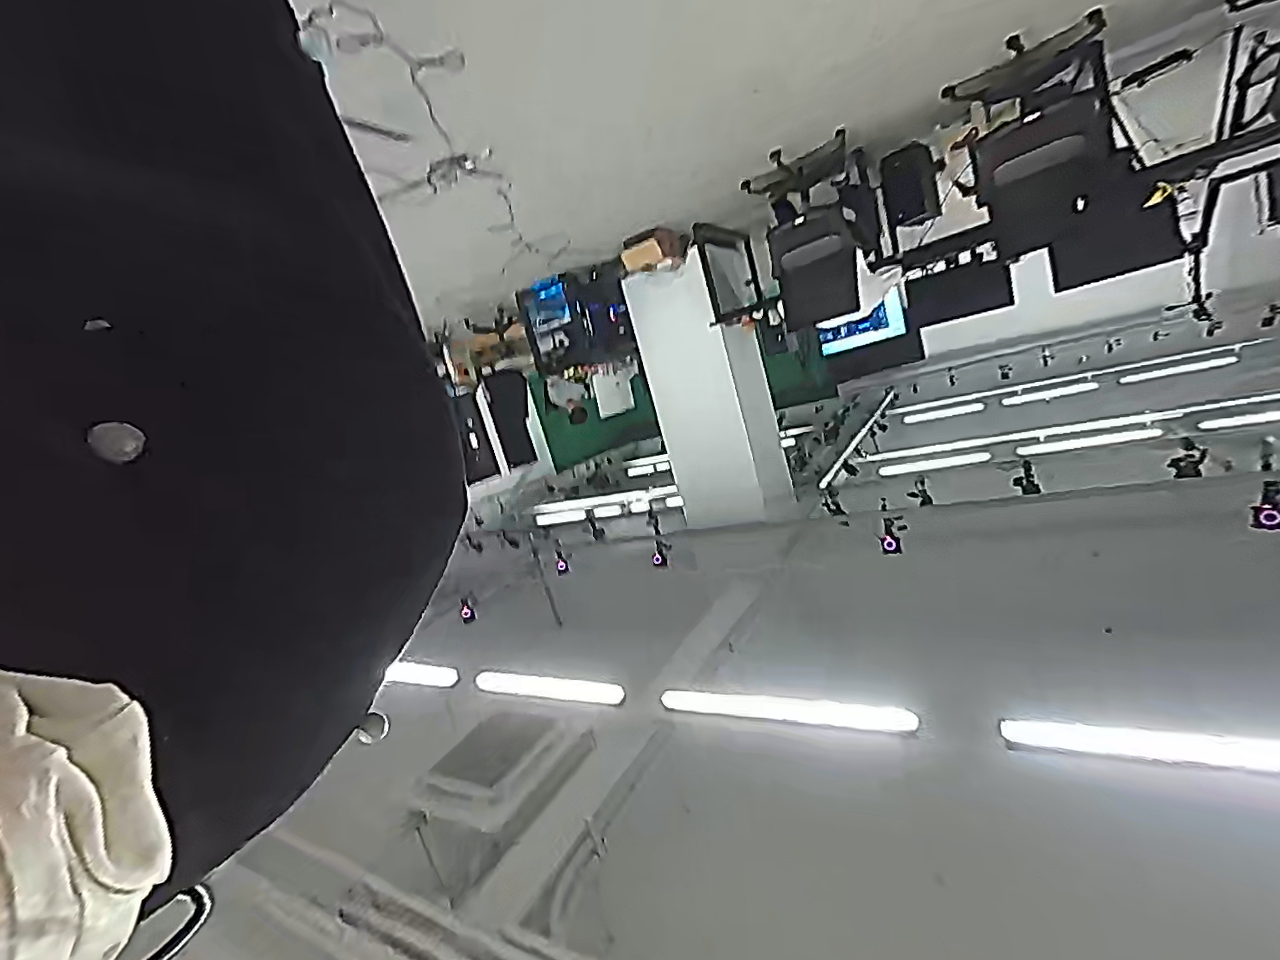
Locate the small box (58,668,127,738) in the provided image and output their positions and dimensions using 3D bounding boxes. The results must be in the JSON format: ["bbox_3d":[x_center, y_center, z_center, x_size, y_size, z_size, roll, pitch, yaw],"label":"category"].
[{"bbox_3d":[-1.943,0.796,1.951,0.179,0.176,0.168,-10,-168,34],"label":"small box"}]

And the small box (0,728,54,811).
[{"bbox_3d":[-1.858,0.843,1.552,0.179,0.176,0.168,-8,-167,30],"label":"small box"}]

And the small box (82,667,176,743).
[{"bbox_3d":[-1.727,0.752,1.825,0.179,0.176,0.168,-9,-167,33],"label":"small box"}]
